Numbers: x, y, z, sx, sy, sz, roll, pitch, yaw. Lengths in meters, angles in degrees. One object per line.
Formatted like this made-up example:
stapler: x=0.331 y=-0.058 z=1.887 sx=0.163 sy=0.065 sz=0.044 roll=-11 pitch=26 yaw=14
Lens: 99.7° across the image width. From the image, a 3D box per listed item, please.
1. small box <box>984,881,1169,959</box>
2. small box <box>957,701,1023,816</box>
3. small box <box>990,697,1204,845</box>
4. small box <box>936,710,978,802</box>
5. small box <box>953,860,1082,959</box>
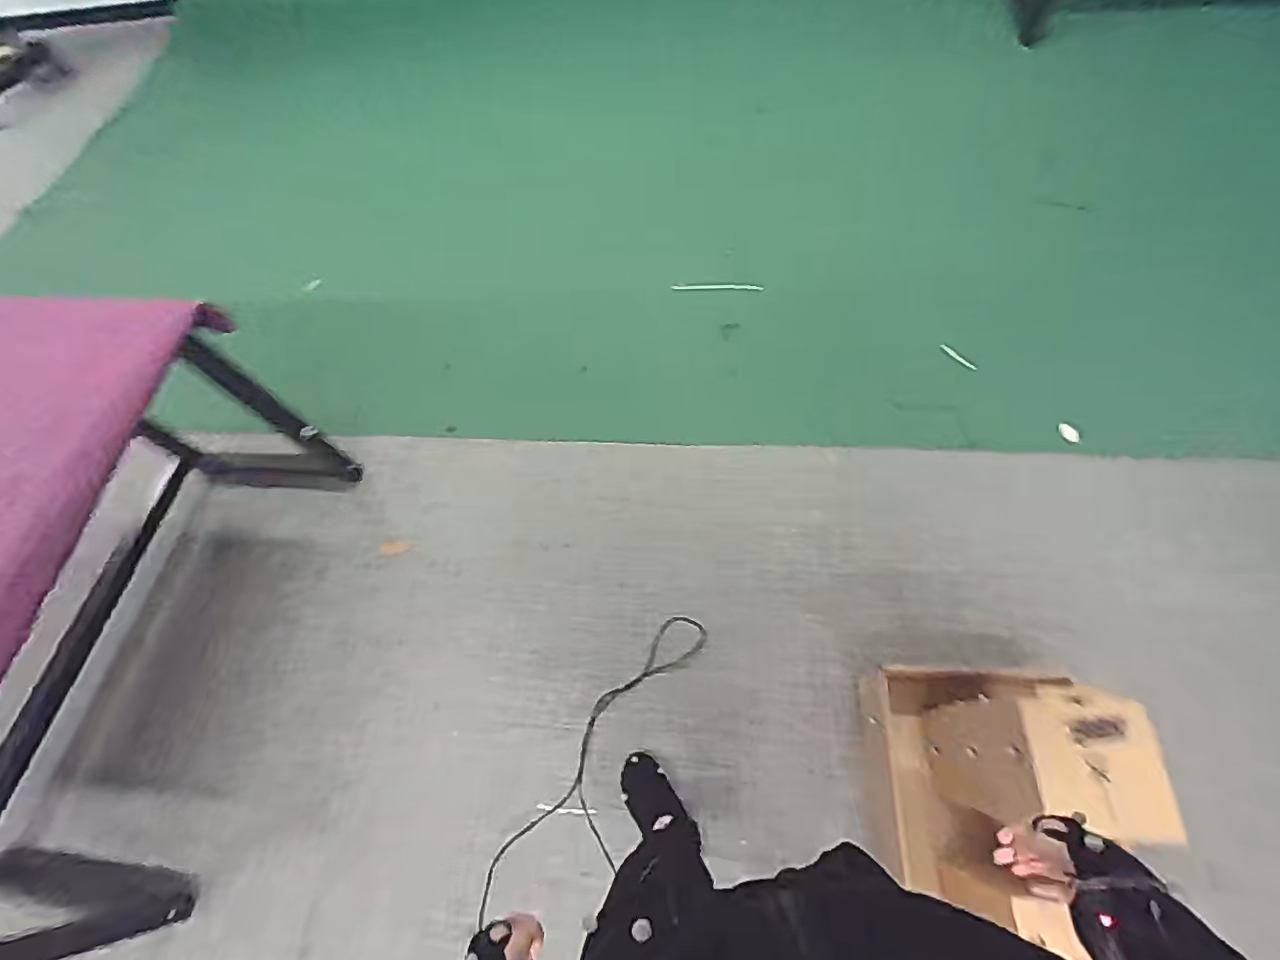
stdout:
small box: x=0.681 y=0.744 z=0.843 sx=0.179 sy=0.176 sz=0.168 roll=-2 pitch=62 yaw=8
small box: x=0.694 y=0.495 z=0.963 sx=0.168 sy=0.176 sz=0.179 roll=-3 pitch=64 yaw=10
small box: x=0.663 y=0.429 z=0.816 sx=0.168 sy=0.176 sz=0.179 roll=-3 pitch=65 yaw=10
small box: x=0.730 y=0.564 z=1.106 sx=0.179 sy=0.176 sz=0.168 roll=-3 pitch=65 yaw=8
small box: x=0.702 y=0.820 z=0.987 sx=0.168 sy=0.176 sz=0.179 roll=-2 pitch=62 yaw=9
